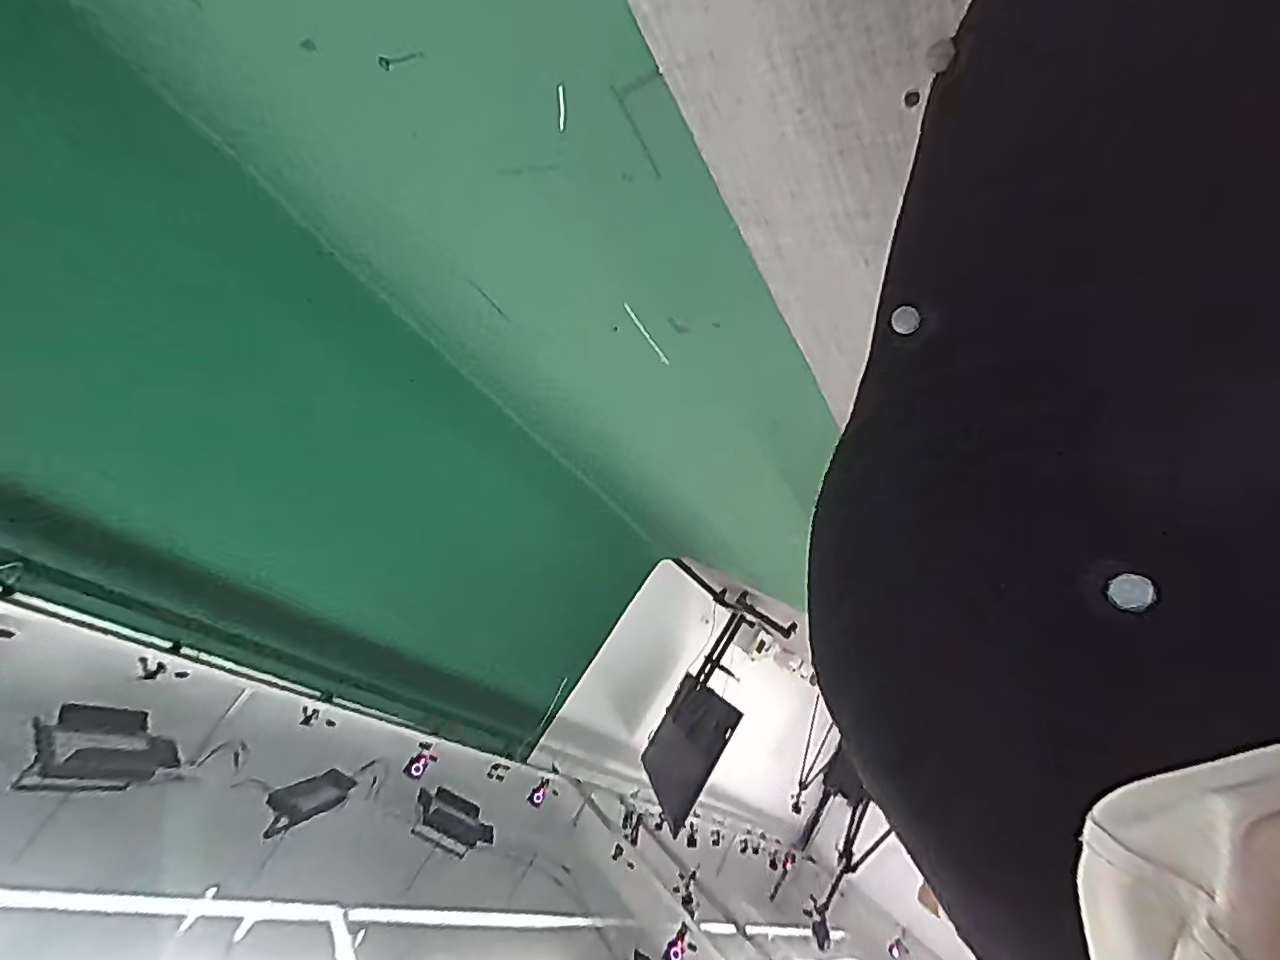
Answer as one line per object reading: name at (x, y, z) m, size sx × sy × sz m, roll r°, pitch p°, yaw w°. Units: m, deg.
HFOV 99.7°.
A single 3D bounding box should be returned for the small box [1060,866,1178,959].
small box at (1.115, 1.046, 1.258) m, size 0.168 × 0.176 × 0.179 m, roll 18°, pitch 158°, yaw 50°
